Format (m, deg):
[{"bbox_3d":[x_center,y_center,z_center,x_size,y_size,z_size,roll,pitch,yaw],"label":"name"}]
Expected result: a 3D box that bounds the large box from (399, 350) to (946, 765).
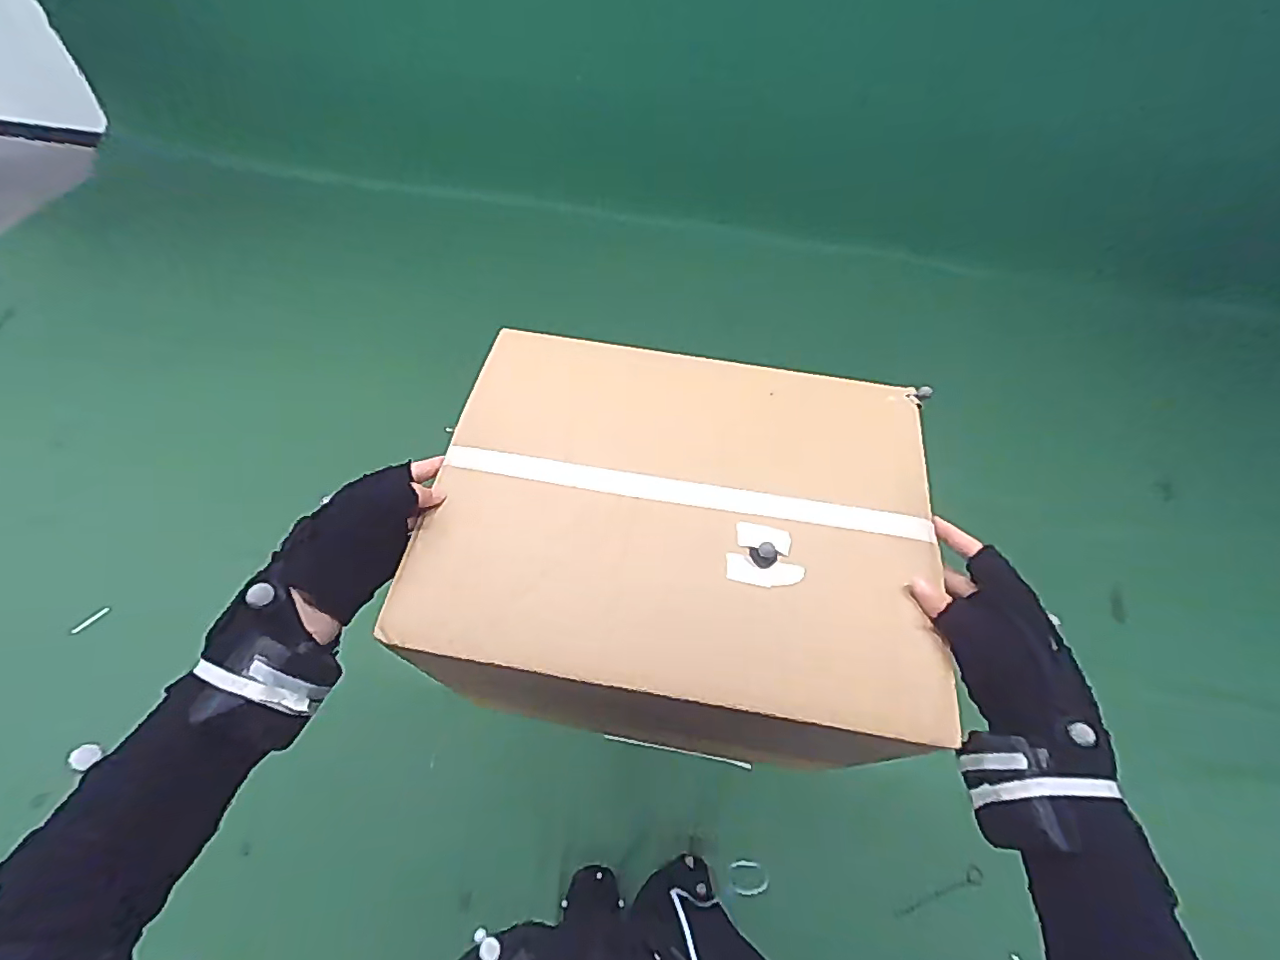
[{"bbox_3d":[0.034,0.098,0.587,0.408,0.320,0.320,9,59,4],"label":"large box"}]
